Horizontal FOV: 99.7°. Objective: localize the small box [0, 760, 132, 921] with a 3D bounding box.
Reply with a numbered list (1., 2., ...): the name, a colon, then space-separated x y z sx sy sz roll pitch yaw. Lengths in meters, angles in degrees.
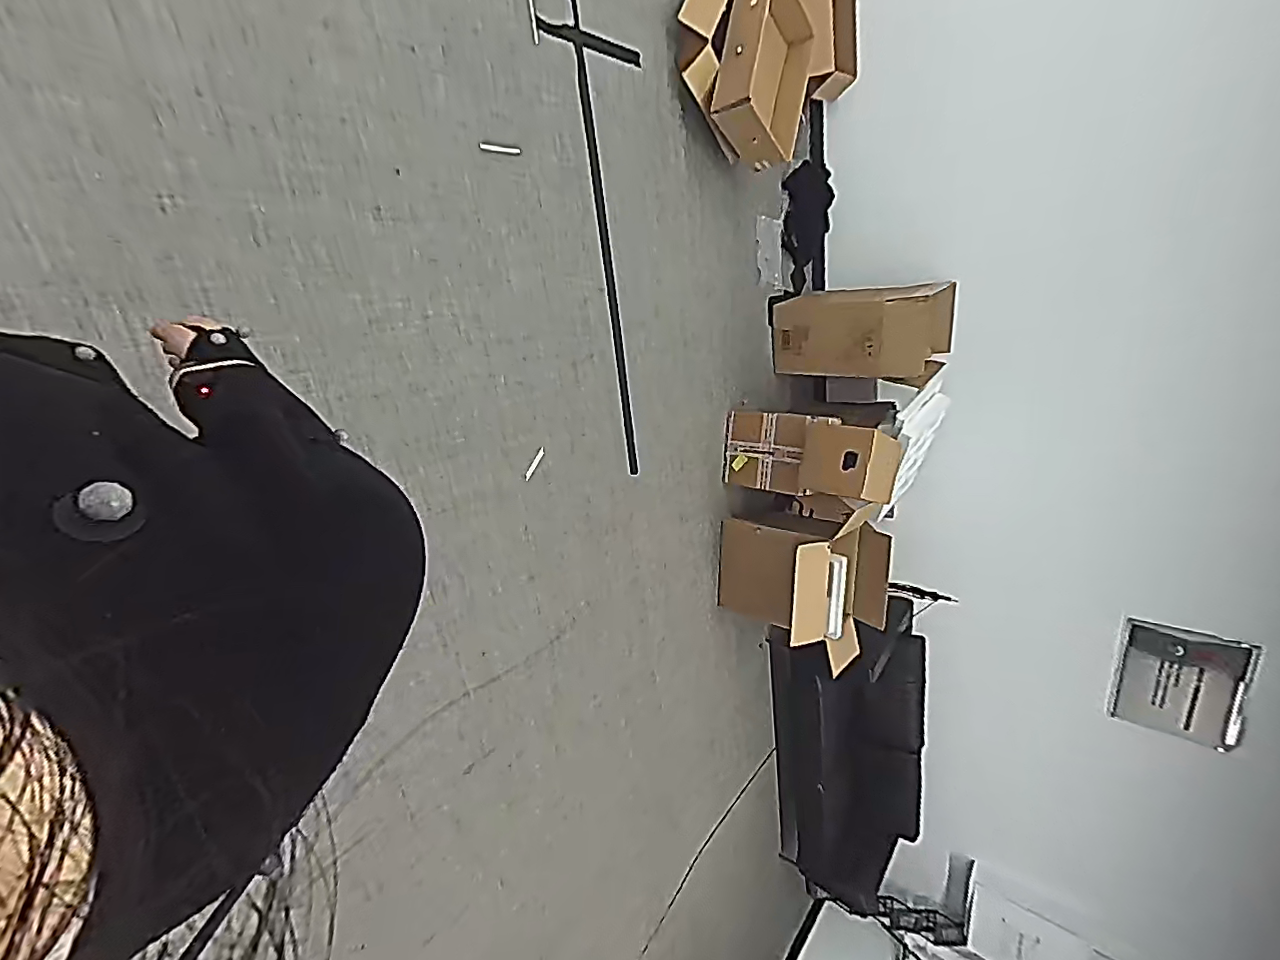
1. small box: -1.146 0.683 1.053 0.168 0.176 0.179 -29 119 -43
